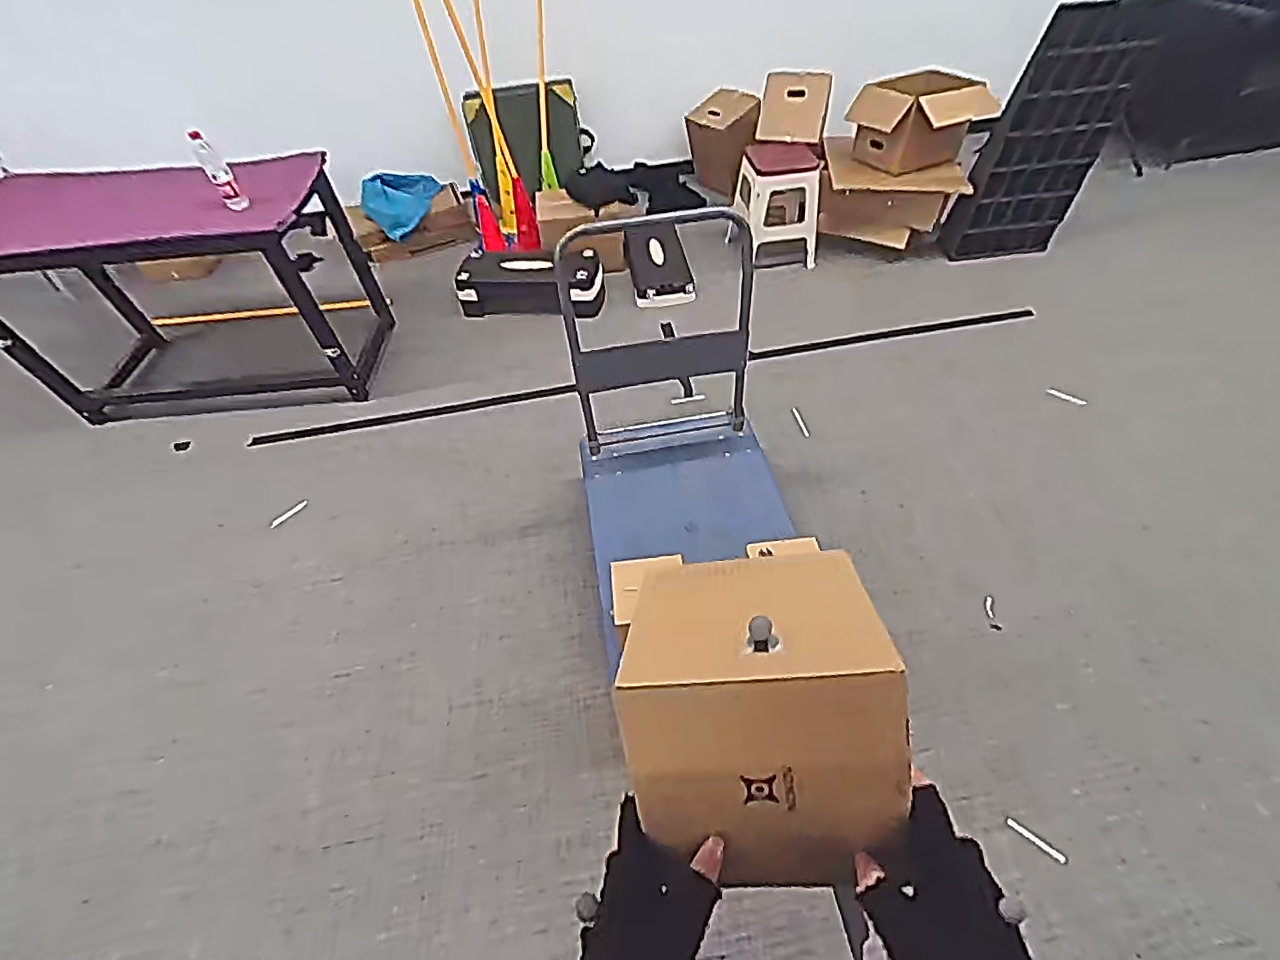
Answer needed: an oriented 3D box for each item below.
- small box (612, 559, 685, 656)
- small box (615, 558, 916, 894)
[{"bbox_3d":[0.030,0.313,1.315,0.179,0.176,0.168,-7,50,0],"label":"small box"},{"bbox_3d":[0.092,0.174,0.419,0.179,0.168,0.176,-7,16,9],"label":"small box"}]
